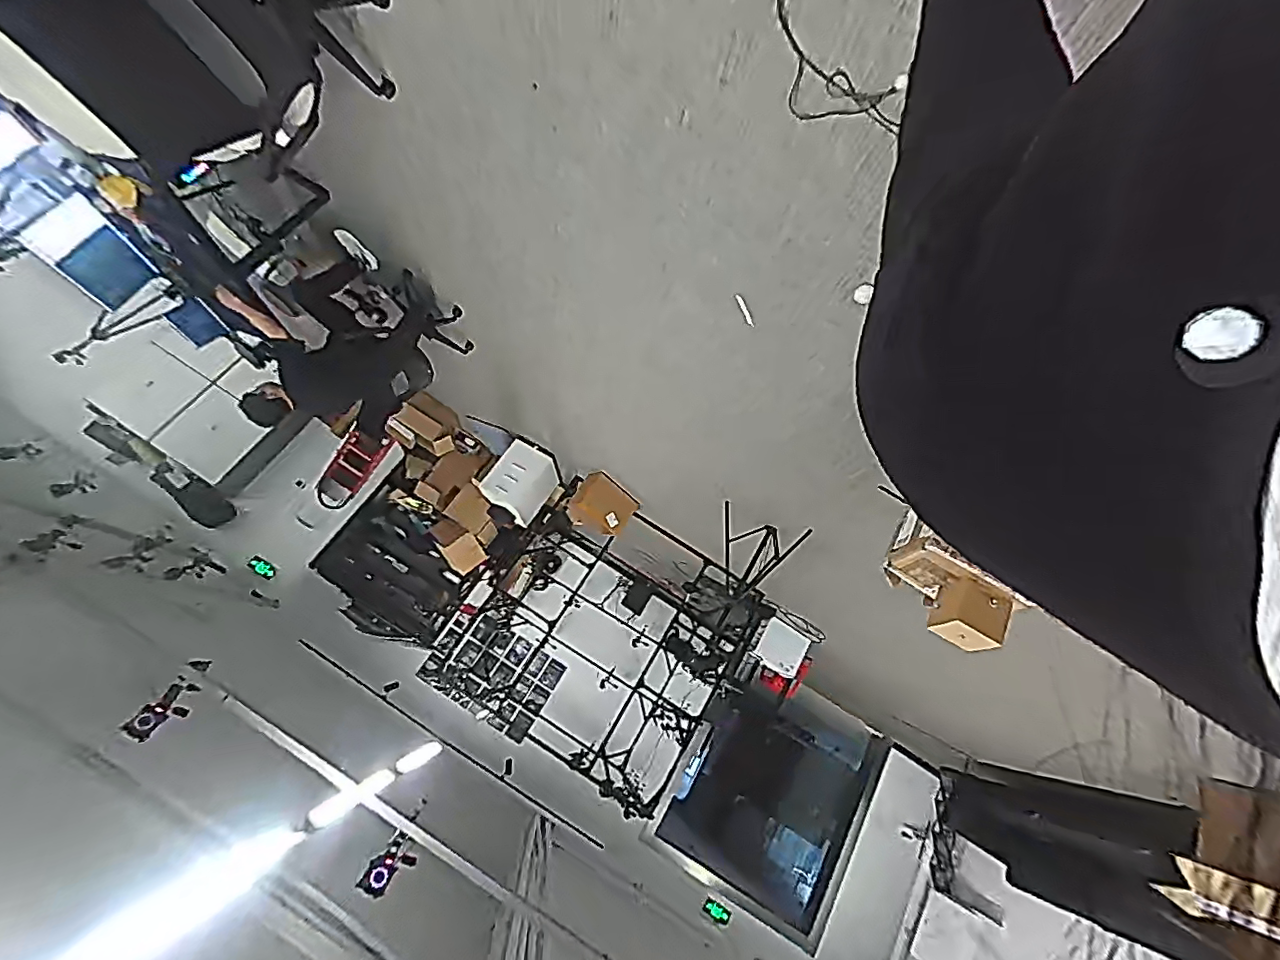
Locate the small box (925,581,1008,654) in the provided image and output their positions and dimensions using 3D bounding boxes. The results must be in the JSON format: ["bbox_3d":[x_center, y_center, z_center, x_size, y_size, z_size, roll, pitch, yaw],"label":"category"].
[{"bbox_3d":[1.132,0.476,1.870,0.168,0.176,0.179,30,155,6],"label":"small box"}]
